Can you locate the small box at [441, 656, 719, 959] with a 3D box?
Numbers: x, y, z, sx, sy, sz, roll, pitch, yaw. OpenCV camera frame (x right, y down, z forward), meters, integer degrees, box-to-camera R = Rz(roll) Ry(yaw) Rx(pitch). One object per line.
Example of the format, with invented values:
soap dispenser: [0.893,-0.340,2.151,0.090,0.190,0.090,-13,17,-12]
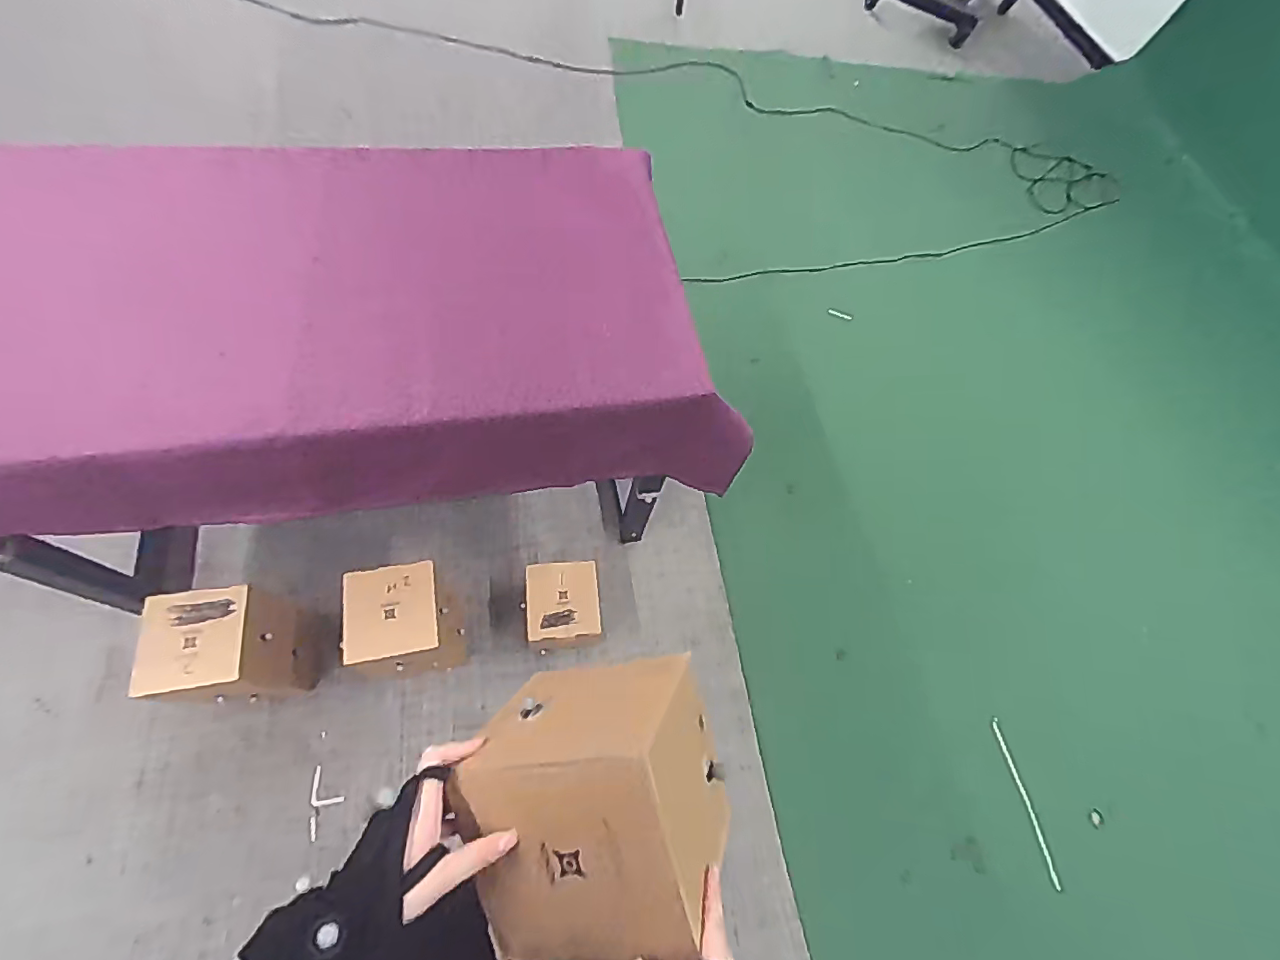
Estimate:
small box: [-0.040,0.276,0.488,0.179,0.176,0.168,-13,93,17]

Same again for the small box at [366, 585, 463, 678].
small box: [-0.517,0.355,1.256,0.179,0.176,0.168,-6,65,-12]
